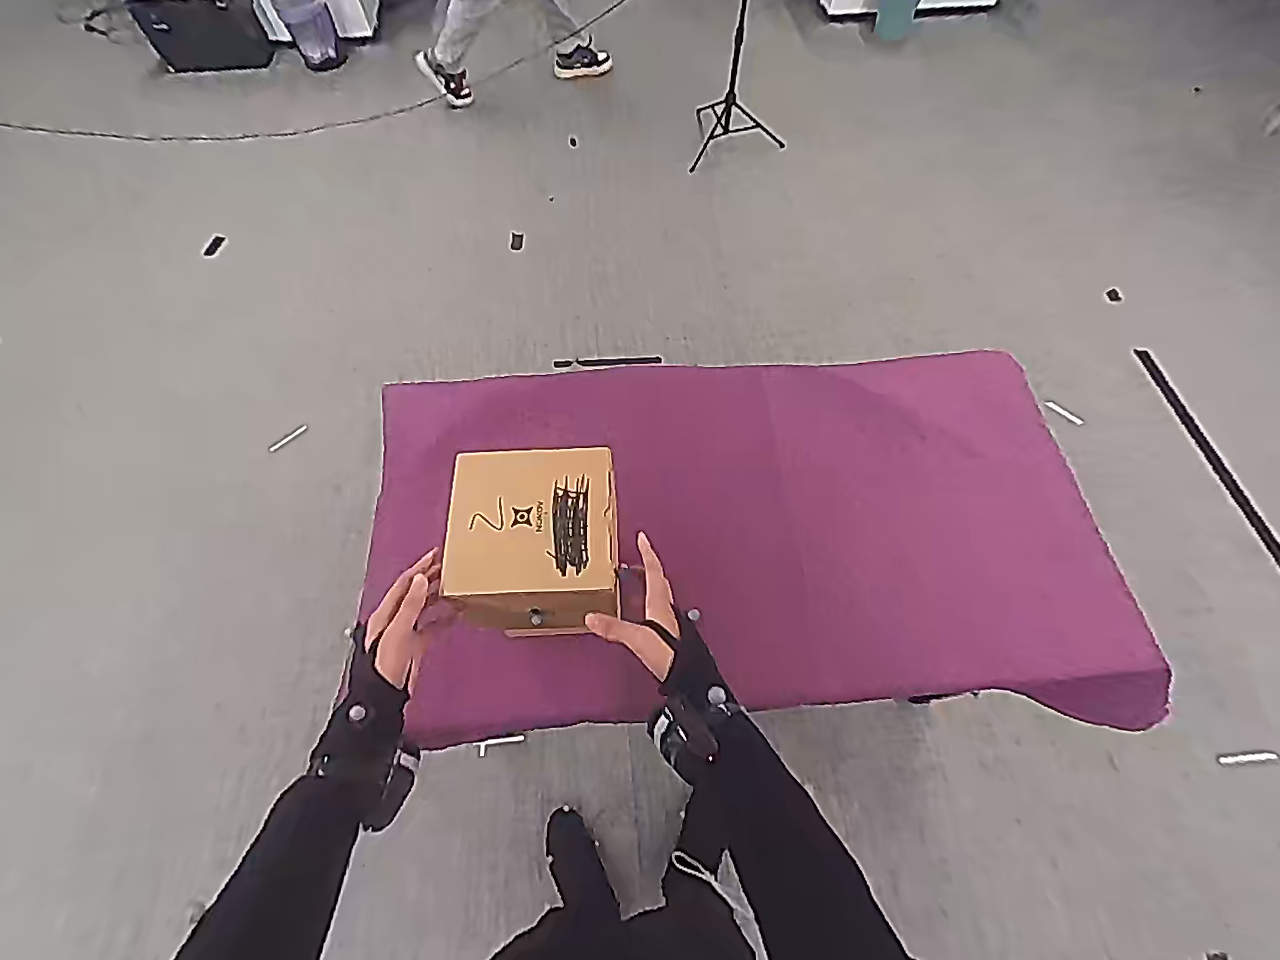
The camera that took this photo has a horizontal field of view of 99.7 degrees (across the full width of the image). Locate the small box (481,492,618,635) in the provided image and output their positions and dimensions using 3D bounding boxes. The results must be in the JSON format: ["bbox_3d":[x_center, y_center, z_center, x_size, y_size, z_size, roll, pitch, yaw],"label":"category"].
[{"bbox_3d":[-0.120,0.128,0.798,0.179,0.176,0.168,-2,62,-1],"label":"small box"}]
